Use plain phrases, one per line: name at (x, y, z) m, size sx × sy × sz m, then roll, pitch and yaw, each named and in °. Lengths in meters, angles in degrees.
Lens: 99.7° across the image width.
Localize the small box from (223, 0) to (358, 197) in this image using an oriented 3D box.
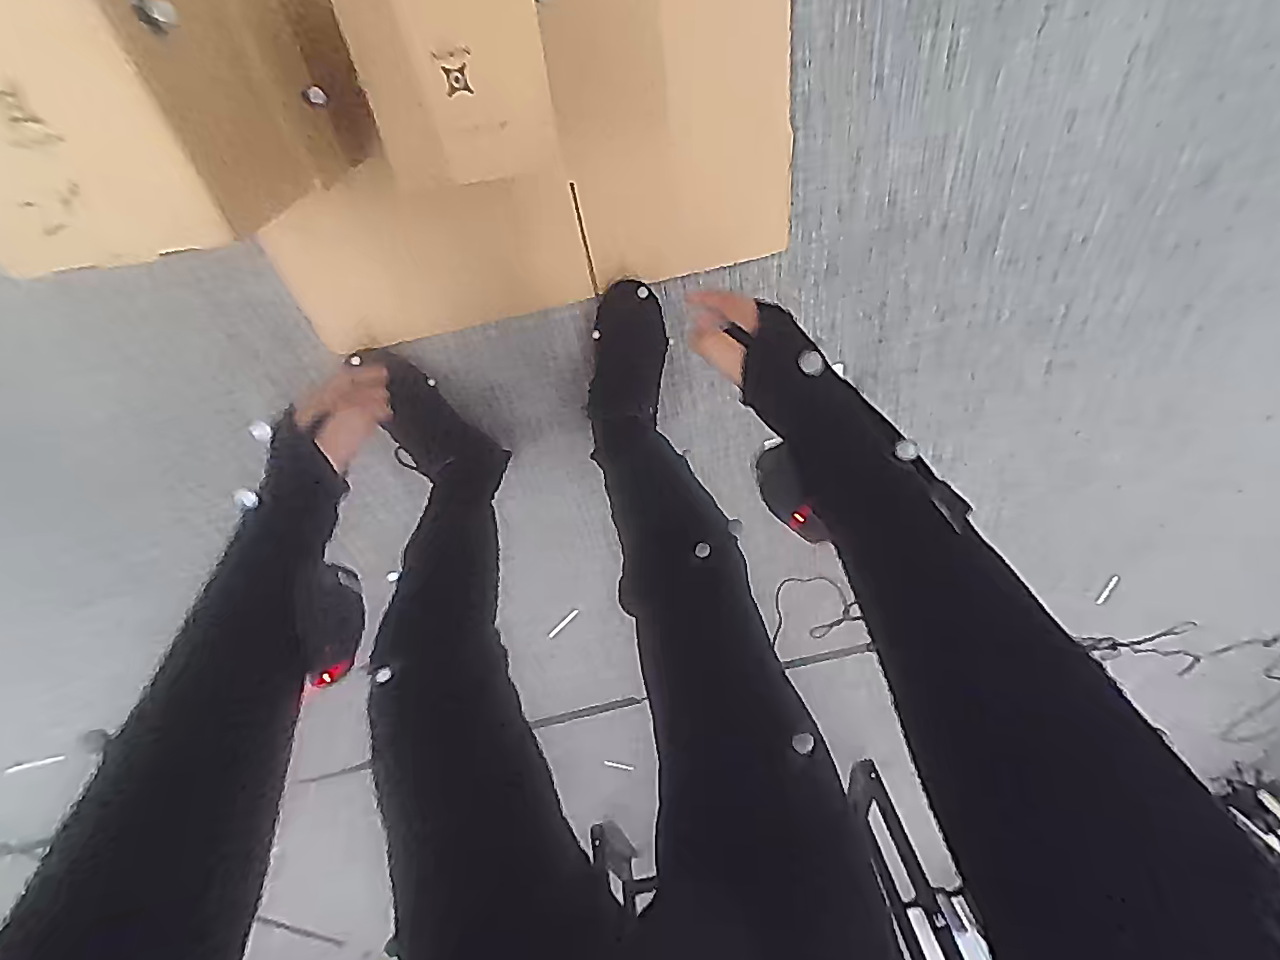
small box at (-0.405, -0.382, 0.523) m, size 0.168 × 0.176 × 0.179 m, roll -11°, pitch 131°, yaw -1°

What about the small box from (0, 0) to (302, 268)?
small box at (-0.392, -0.280, 0.394) m, size 0.168 × 0.176 × 0.179 m, roll -10°, pitch 131°, yaw -1°

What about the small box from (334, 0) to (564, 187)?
small box at (-0.178, -0.416, 0.539) m, size 0.168 × 0.176 × 0.179 m, roll -11°, pitch 131°, yaw -3°
